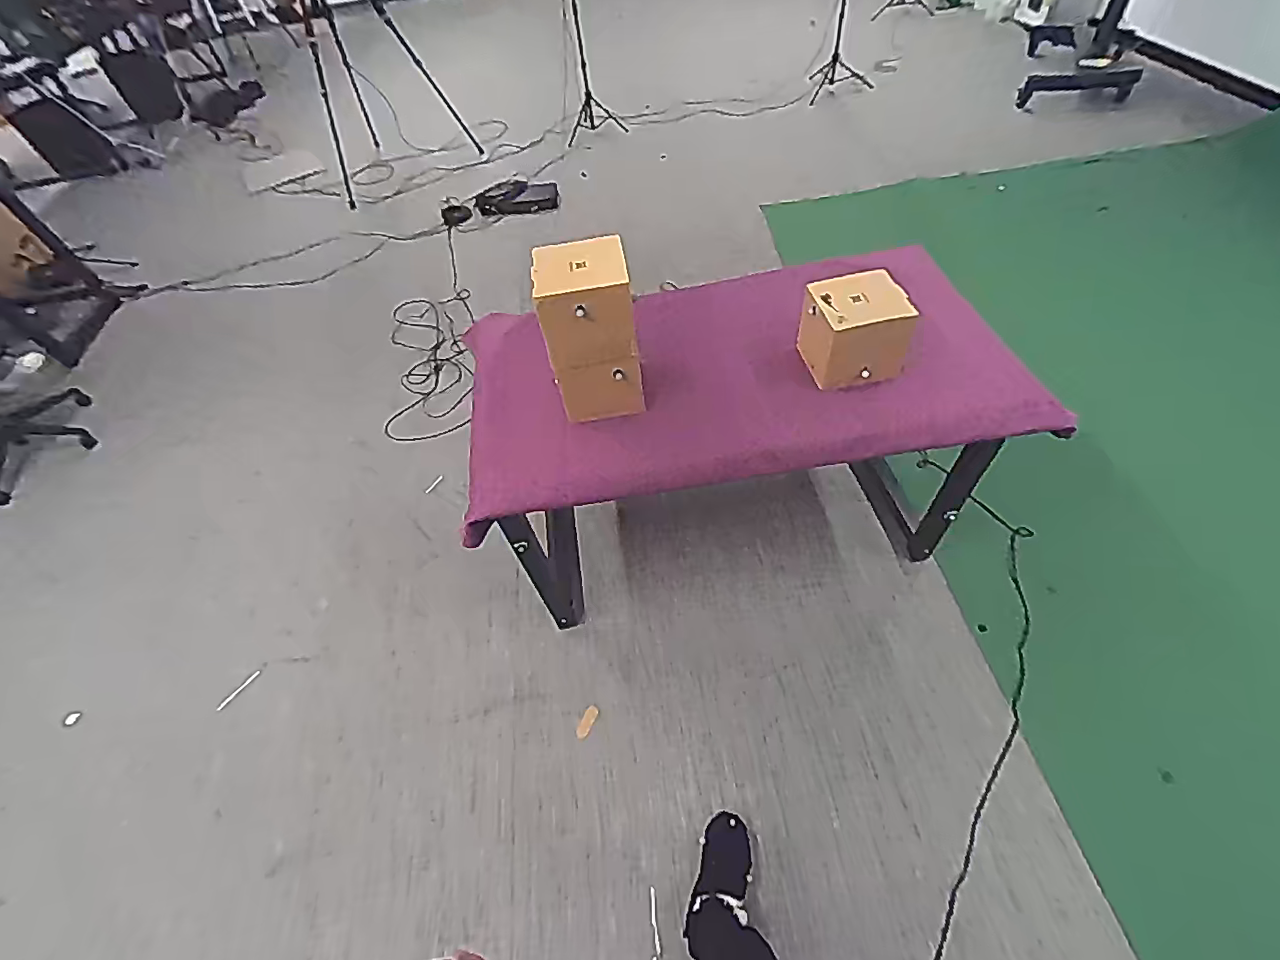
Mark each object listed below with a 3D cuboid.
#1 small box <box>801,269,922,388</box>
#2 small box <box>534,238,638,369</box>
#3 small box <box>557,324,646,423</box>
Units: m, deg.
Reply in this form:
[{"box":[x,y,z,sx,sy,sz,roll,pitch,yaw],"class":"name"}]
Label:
[{"box":[0.466,-0.323,1.170,0.179,0.176,0.168,-11,52,0],"class":"small box"},{"box":[-0.101,-0.342,1.065,0.179,0.176,0.168,-10,53,1],"class":"small box"},{"box":[-0.083,-0.249,1.195,0.179,0.176,0.168,-10,52,1],"class":"small box"}]
